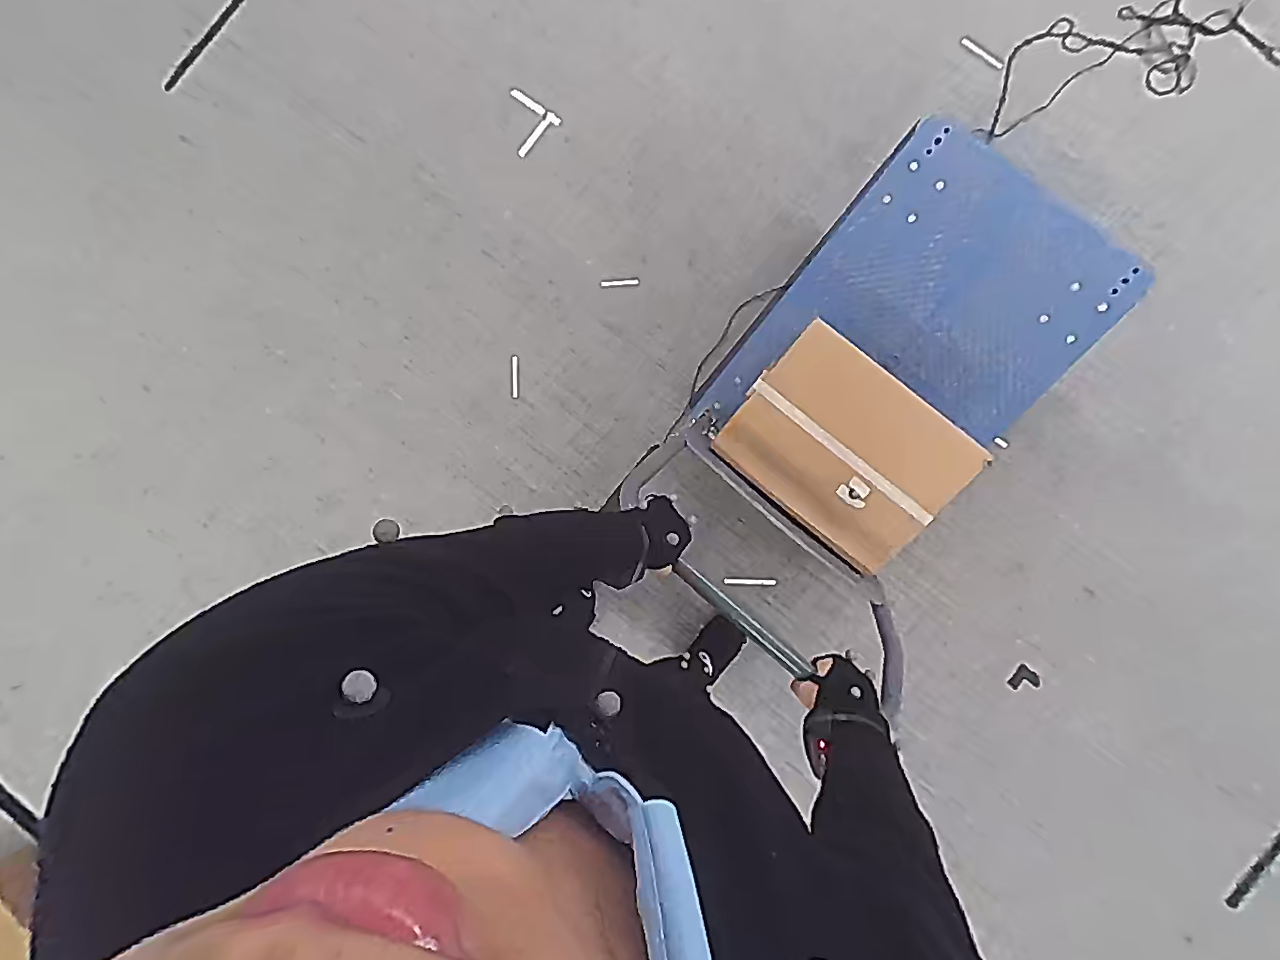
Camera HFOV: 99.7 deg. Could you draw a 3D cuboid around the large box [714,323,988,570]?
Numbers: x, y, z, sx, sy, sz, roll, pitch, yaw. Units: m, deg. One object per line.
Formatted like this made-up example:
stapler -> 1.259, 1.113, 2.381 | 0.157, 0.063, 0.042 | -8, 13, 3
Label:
large box -> 0.419, -0.084, 1.171 | 0.408, 0.320, 0.320 | 40, 108, 4
